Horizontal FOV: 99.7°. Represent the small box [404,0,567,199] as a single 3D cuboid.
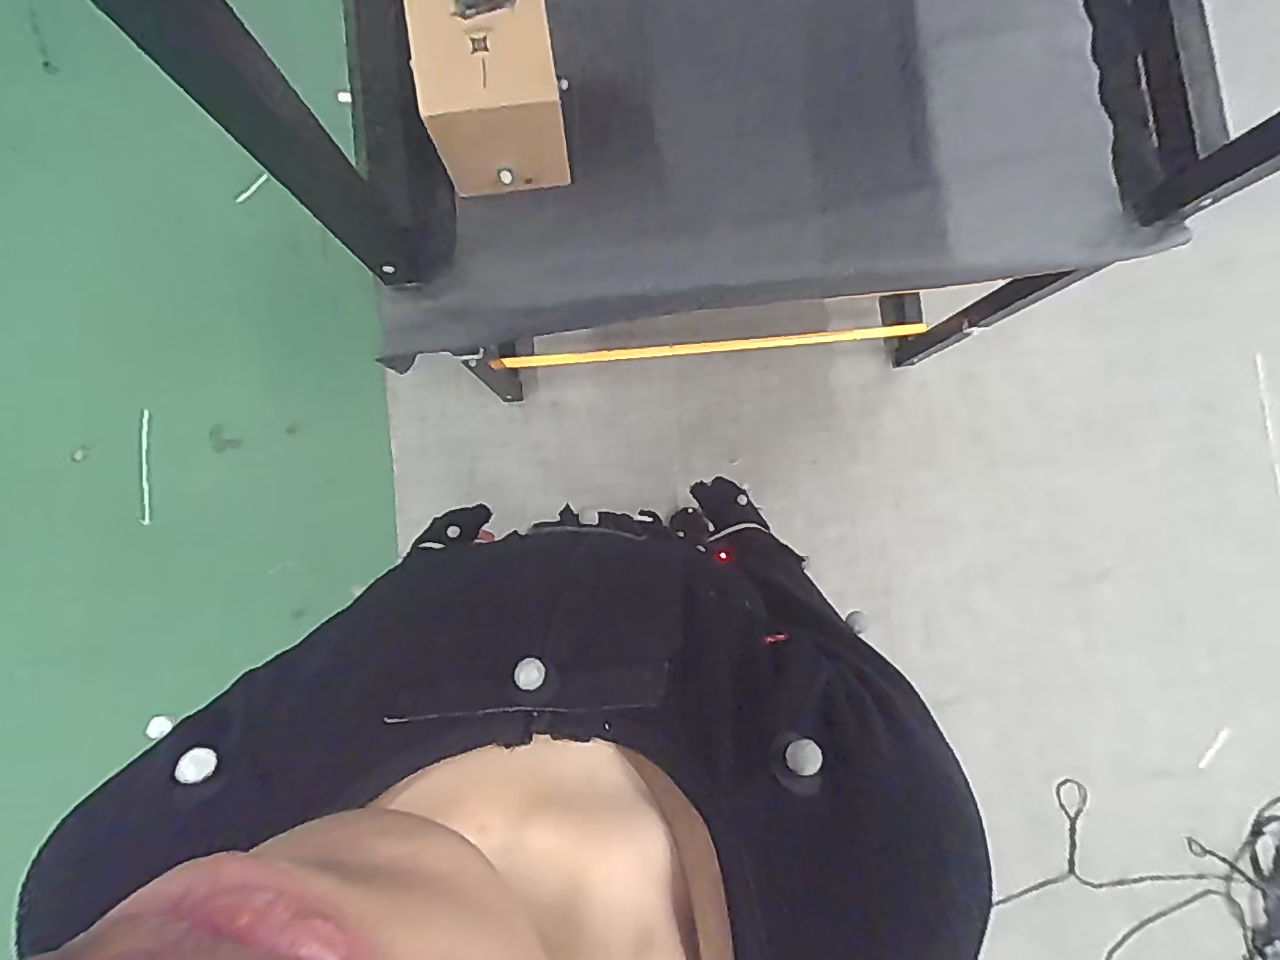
[{"bbox_3d":[-0.194,-0.509,0.718,0.168,0.176,0.179,-8,87,-2],"label":"small box"}]
